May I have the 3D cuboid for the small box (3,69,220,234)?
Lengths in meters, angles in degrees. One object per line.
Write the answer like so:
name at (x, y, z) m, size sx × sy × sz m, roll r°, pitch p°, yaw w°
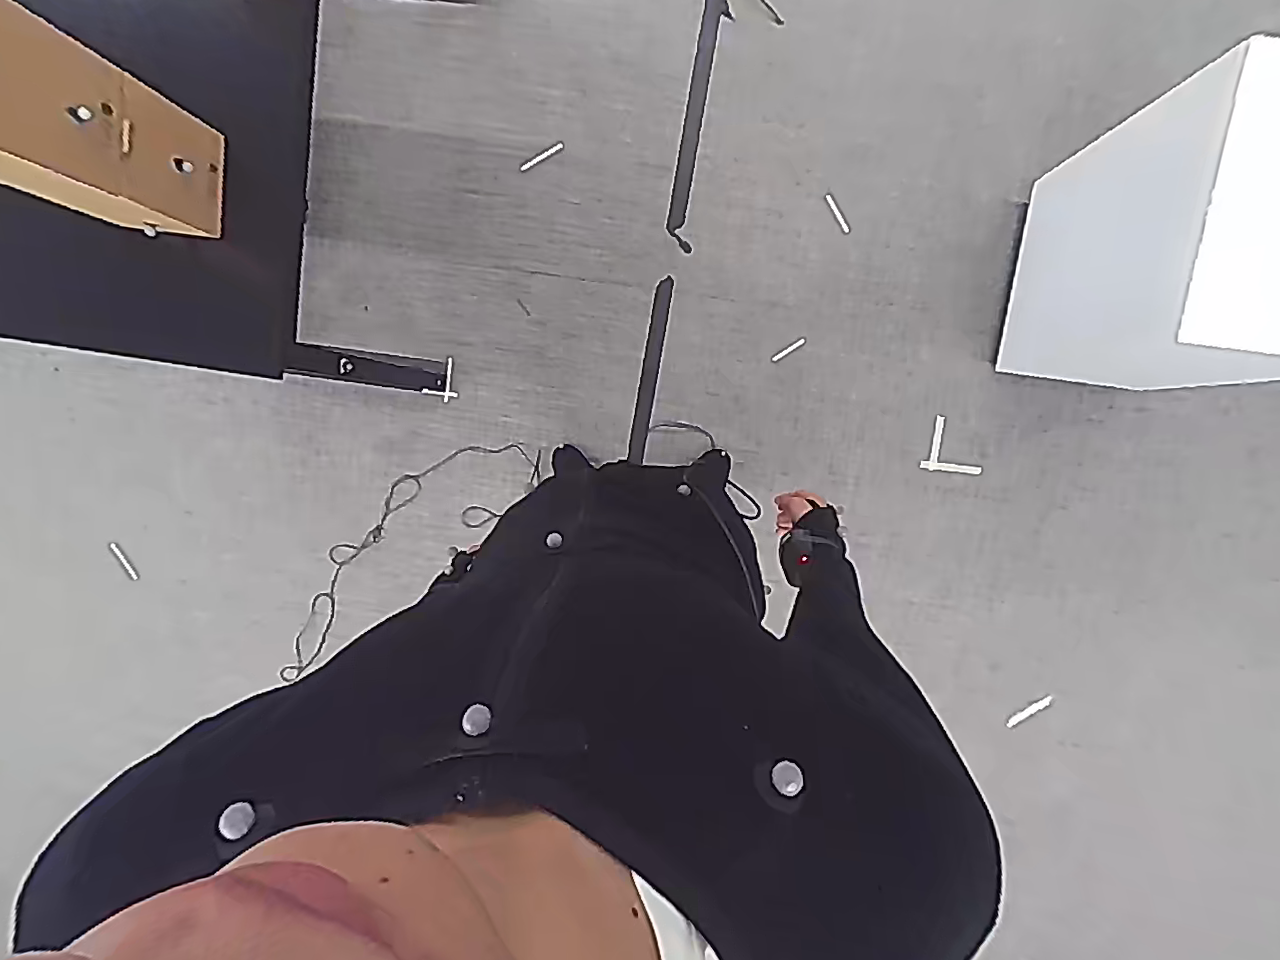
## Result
small box at (-0.777, -0.486, 0.811) m, size 0.179 × 0.176 × 0.168 m, roll 7°, pitch 96°, yaw 2°

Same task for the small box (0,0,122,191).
small box at (-0.789, -0.470, 0.648) m, size 0.179 × 0.176 × 0.168 m, roll 8°, pitch 97°, yaw 3°
